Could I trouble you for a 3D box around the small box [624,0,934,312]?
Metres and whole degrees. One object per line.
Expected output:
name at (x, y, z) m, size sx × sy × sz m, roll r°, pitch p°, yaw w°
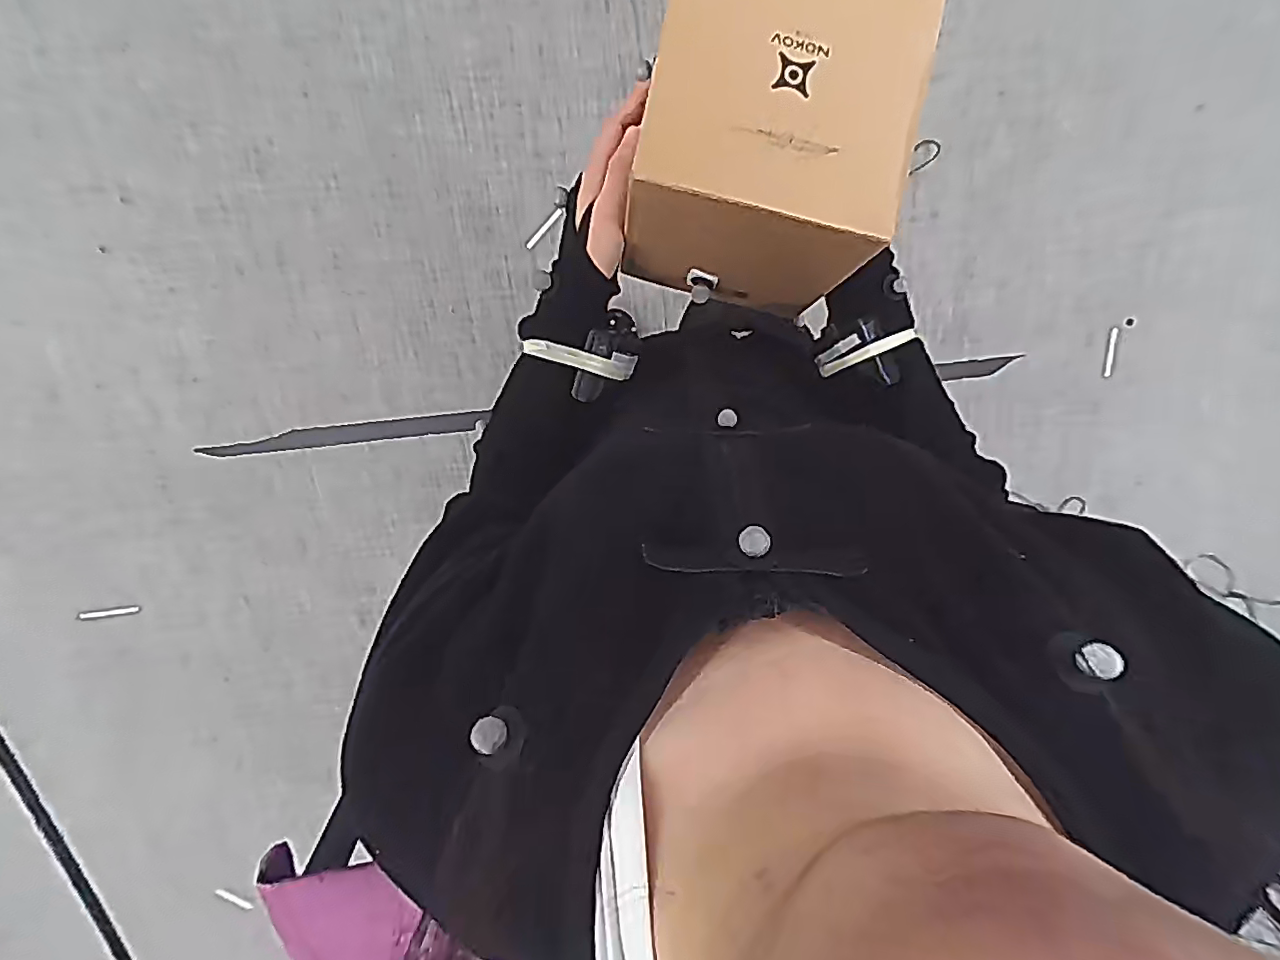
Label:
small box at (0.083, -0.251, 0.408) m, size 0.168 × 0.176 × 0.179 m, roll 12°, pitch 90°, yaw -4°
